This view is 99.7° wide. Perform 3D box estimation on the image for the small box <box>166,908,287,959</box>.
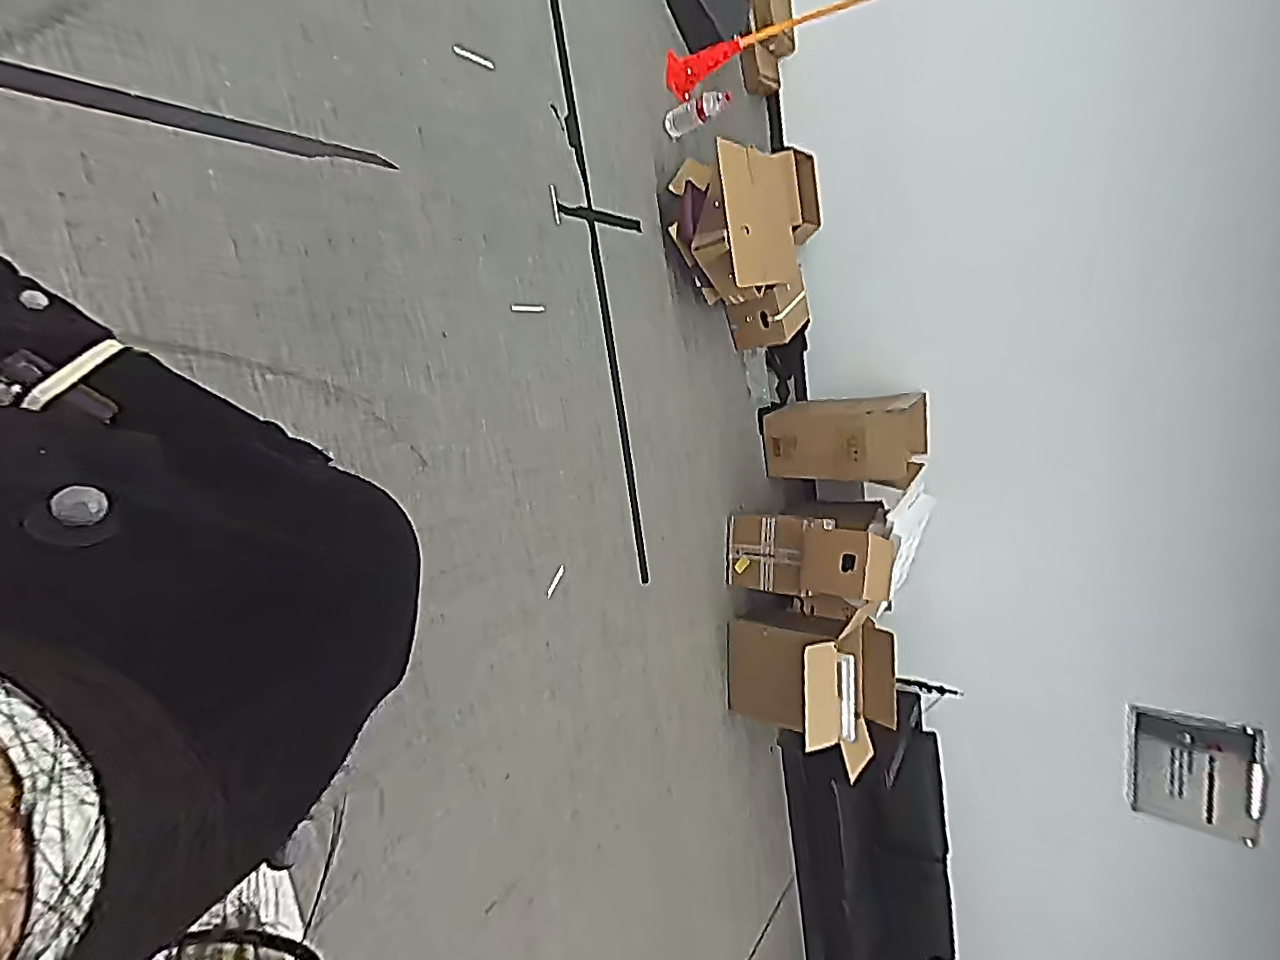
[{"bbox_3d":[-0.544,0.718,0.697,0.168,0.176,0.179,-22,107,-49],"label":"small box"}]
